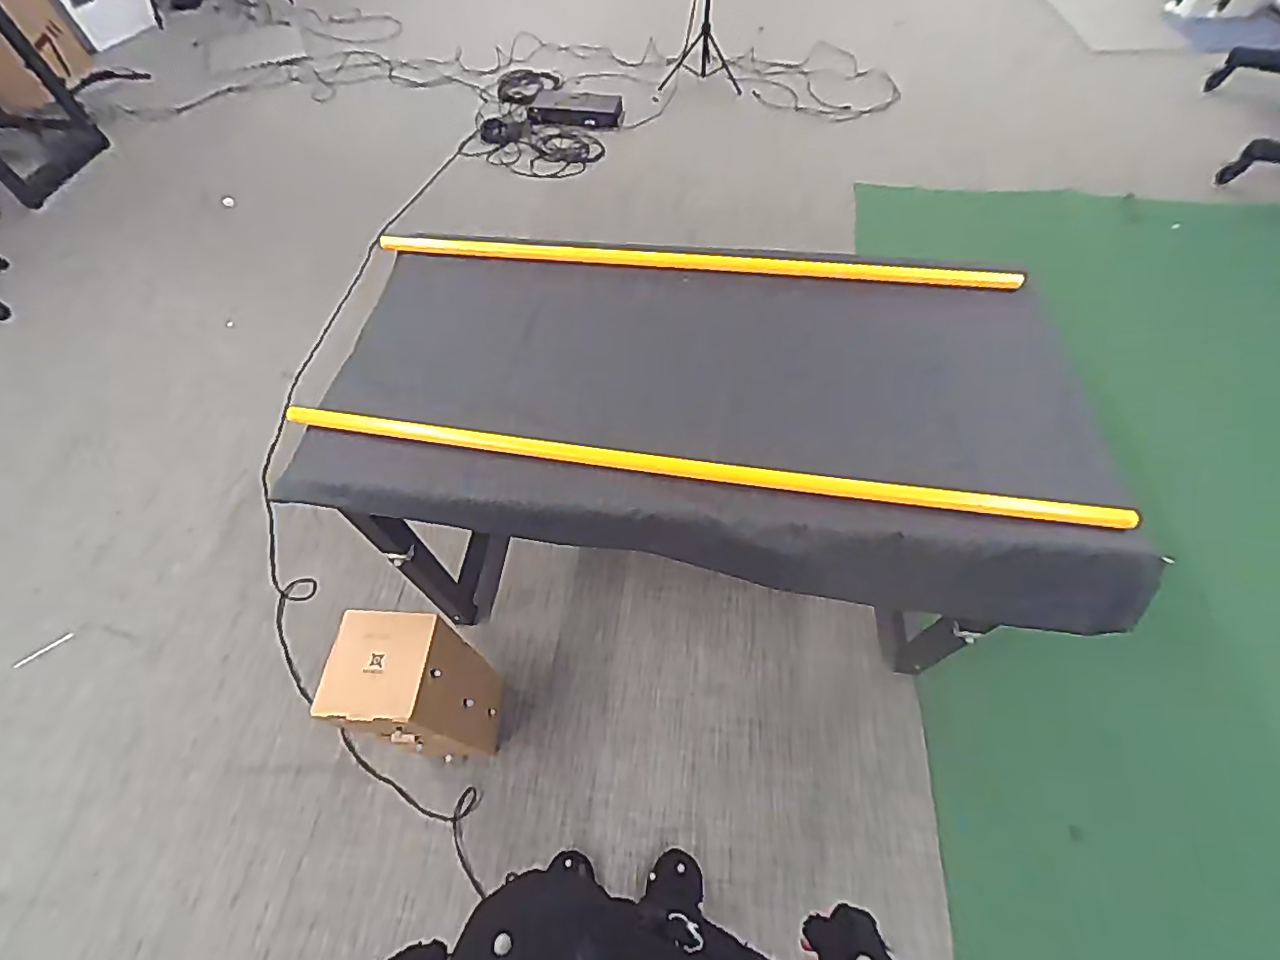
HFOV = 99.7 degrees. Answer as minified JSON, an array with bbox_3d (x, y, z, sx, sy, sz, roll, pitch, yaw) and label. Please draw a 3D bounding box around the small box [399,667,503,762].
[{"bbox_3d":[-0.417,0.535,1.229,0.168,0.176,0.179,-1,57,1],"label":"small box"}]
